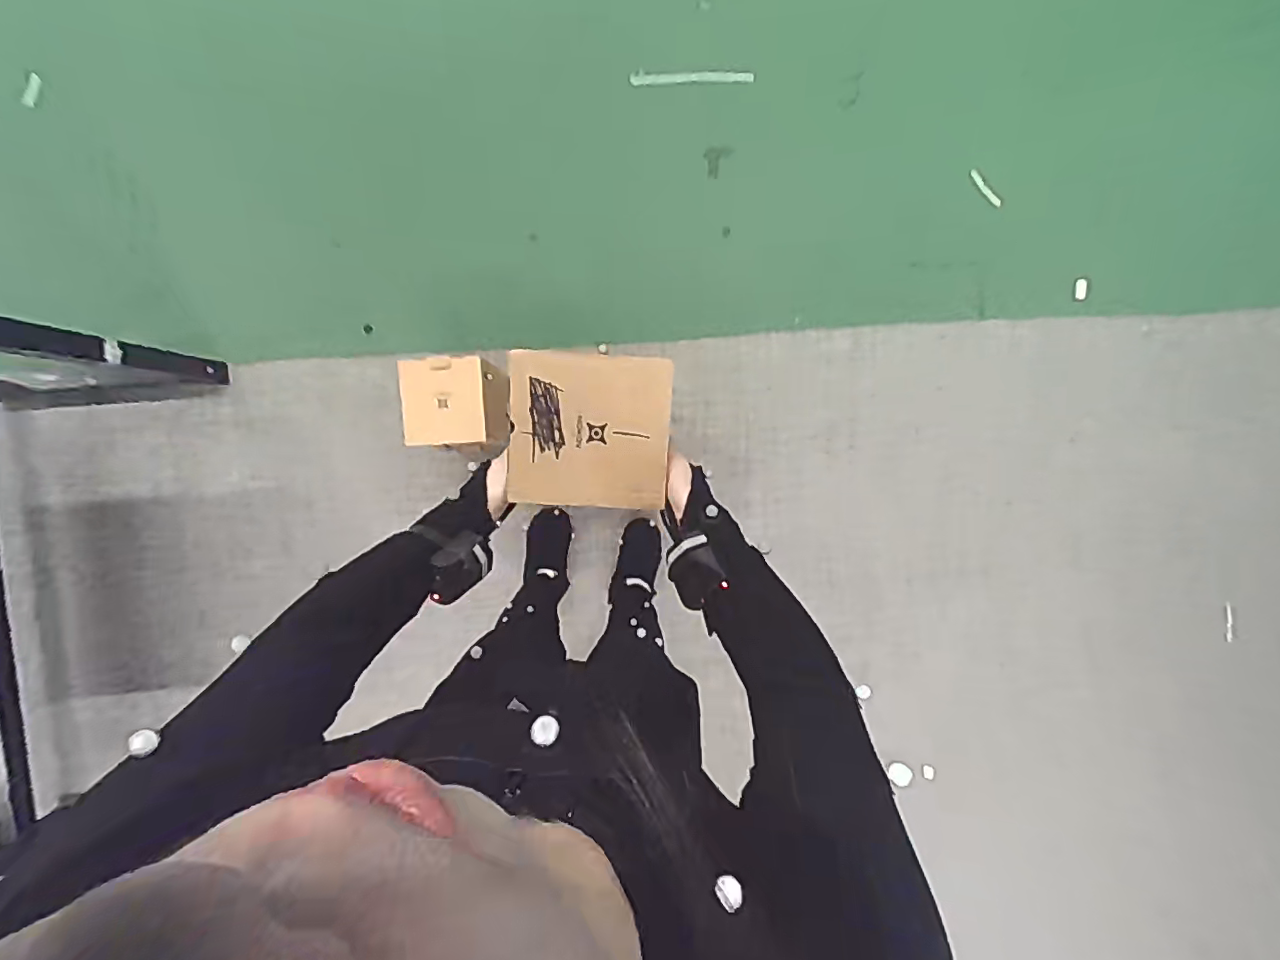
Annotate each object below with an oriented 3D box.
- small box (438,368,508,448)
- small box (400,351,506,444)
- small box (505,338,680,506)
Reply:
[{"bbox_3d":[-0.393,-0.173,1.315,0.168,0.176,0.179,-5,94,-1],"label":"small box"},{"bbox_3d":[-0.389,-0.169,1.153,0.168,0.176,0.179,-5,93,-1],"label":"small box"},{"bbox_3d":[-0.052,-0.072,0.636,0.179,0.176,0.168,3,101,-2],"label":"small box"}]
